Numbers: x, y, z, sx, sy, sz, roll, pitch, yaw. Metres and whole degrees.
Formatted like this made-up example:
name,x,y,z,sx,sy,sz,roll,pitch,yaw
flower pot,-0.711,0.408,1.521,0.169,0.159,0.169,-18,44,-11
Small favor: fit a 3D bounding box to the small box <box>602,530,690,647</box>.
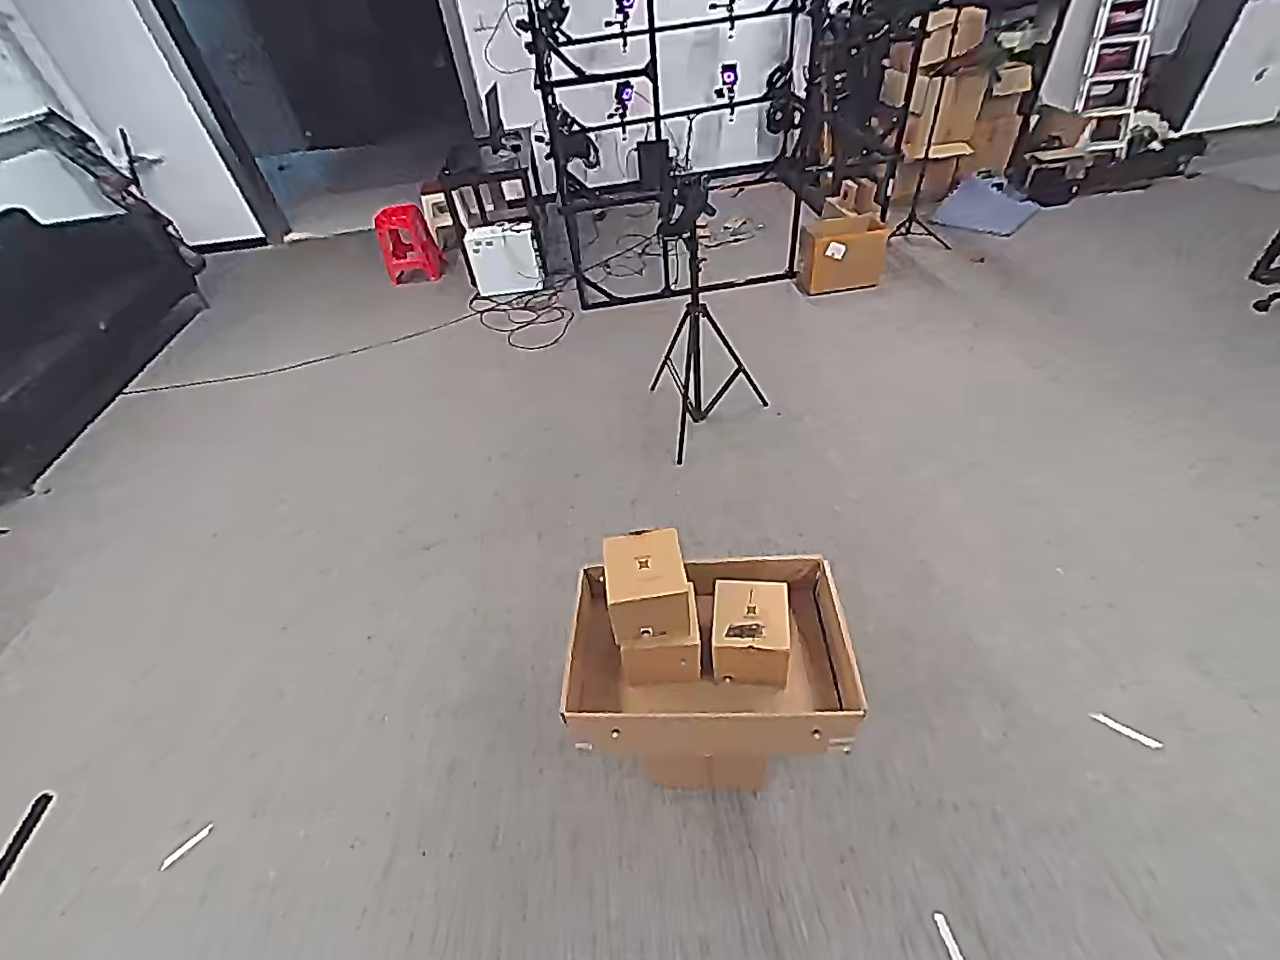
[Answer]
name,x,y,z,sx,sy,sz,roll,pitch,yaw
small box,0.012,0.236,1.176,0.168,0.176,0.179,-9,43,-2
